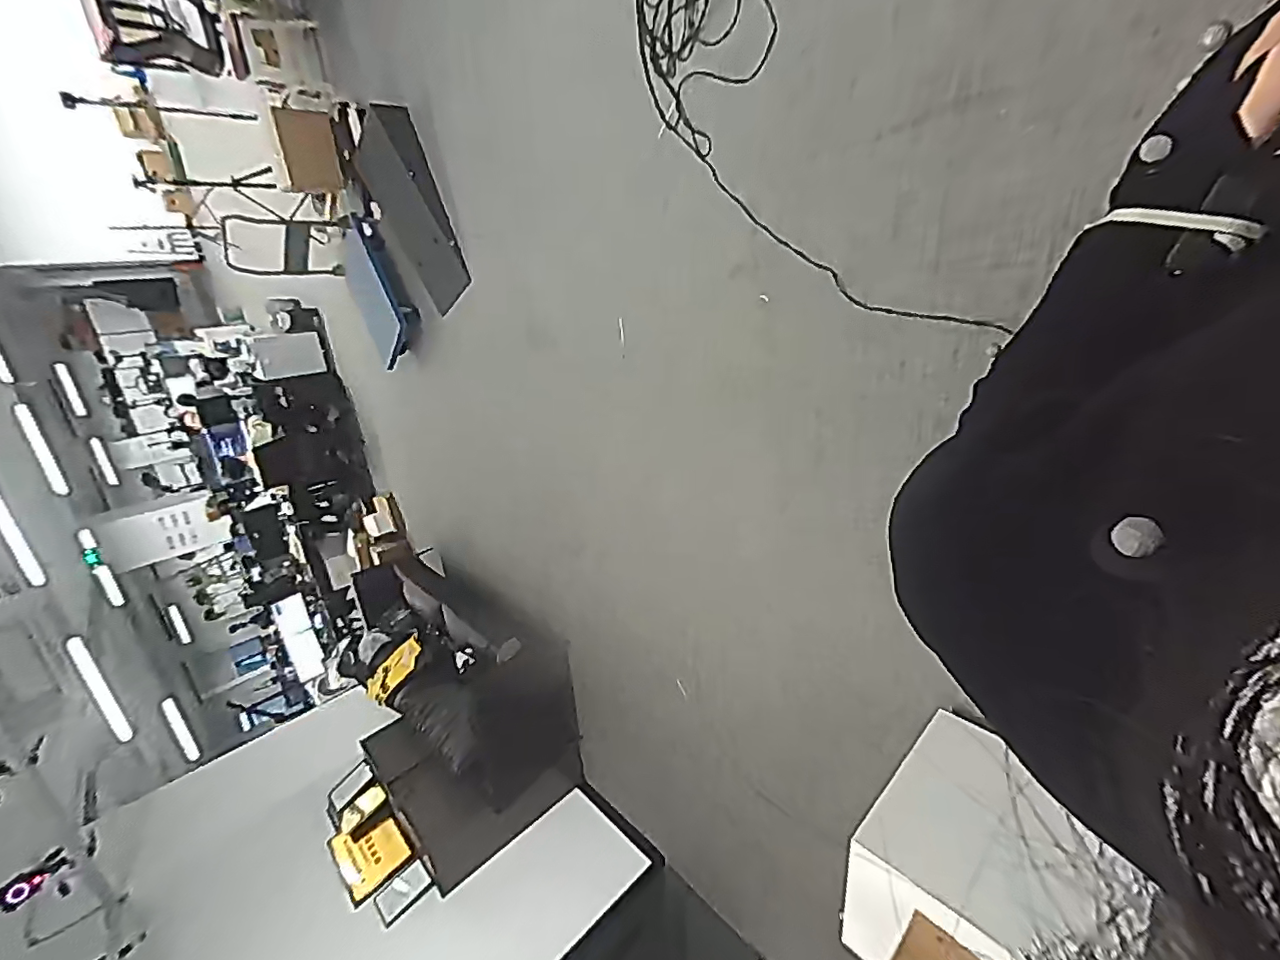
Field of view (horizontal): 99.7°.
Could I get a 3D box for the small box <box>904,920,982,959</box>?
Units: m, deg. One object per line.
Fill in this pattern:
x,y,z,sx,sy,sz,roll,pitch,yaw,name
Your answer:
0.628,1.077,1.110,0.168,0.176,0.179,20,123,43,small box
